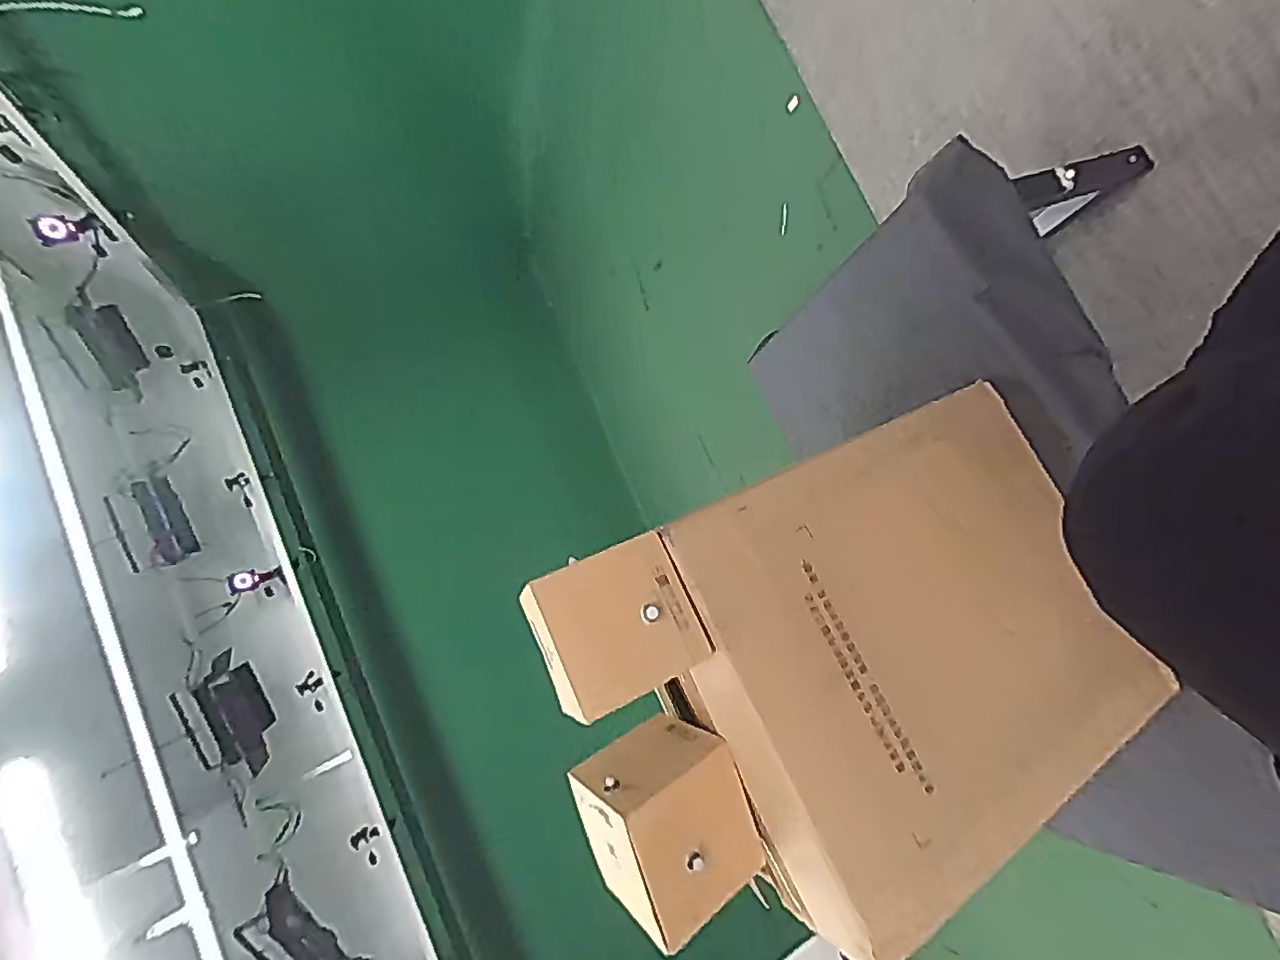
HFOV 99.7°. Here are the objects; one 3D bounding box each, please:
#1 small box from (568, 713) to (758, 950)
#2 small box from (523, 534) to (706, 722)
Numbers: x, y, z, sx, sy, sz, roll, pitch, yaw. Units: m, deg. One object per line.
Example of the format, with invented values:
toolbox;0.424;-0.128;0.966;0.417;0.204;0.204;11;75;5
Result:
small box;0.032;0.453;0.733;0.168;0.176;0.179;-15;94;58
small box;-0.040;0.186;0.699;0.168;0.176;0.179;65;158;10
